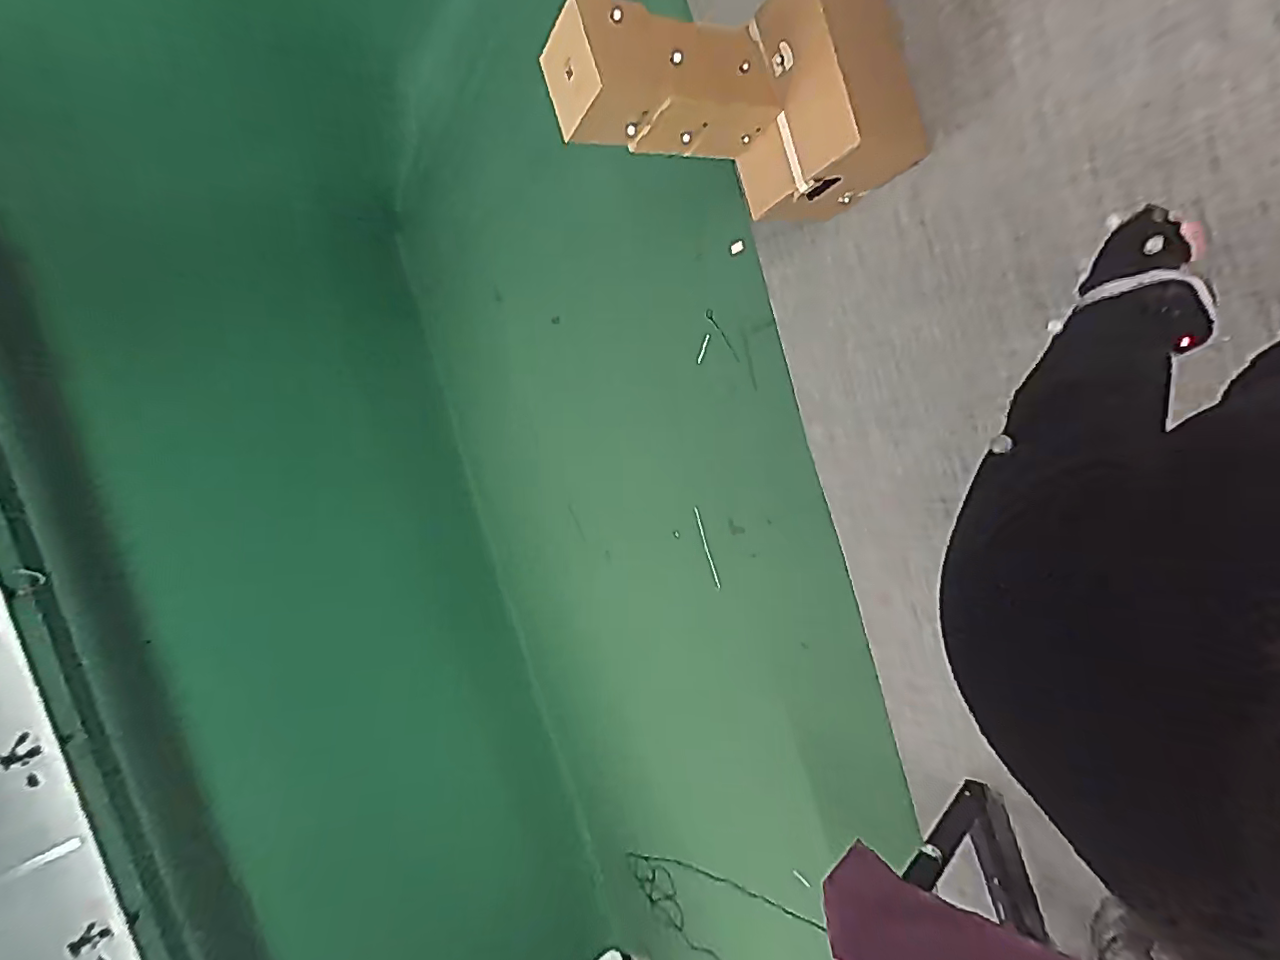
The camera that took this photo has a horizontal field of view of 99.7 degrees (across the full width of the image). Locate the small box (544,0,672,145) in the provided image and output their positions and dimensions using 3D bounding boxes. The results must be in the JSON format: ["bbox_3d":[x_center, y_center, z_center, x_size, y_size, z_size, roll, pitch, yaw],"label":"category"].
[{"bbox_3d":[-0.063,-0.805,1.084,0.168,0.176,0.179,-11,98,58],"label":"small box"}]

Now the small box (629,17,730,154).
[{"bbox_3d":[0.066,-0.843,1.177,0.168,0.176,0.179,-15,94,57],"label":"small box"}]

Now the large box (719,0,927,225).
[{"bbox_3d":[0.444,-0.908,1.347,0.320,0.320,0.408,-15,93,55],"label":"large box"}]
